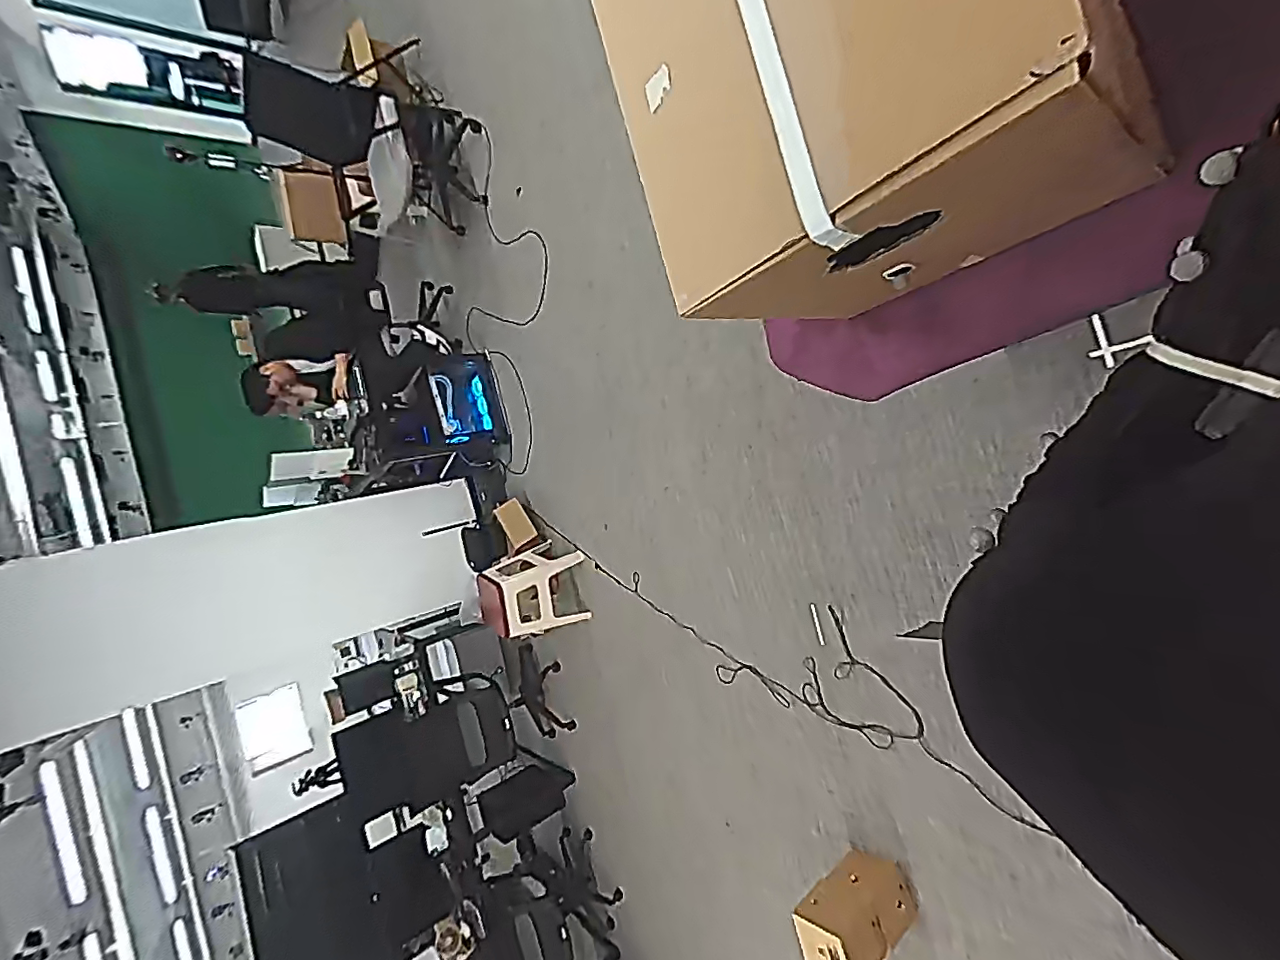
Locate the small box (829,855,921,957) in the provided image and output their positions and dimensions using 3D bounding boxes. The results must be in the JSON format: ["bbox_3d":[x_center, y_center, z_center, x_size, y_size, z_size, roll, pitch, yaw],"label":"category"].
[{"bbox_3d":[0.733,1.311,1.684,0.179,0.176,0.168,-28,79,52],"label":"small box"}]
